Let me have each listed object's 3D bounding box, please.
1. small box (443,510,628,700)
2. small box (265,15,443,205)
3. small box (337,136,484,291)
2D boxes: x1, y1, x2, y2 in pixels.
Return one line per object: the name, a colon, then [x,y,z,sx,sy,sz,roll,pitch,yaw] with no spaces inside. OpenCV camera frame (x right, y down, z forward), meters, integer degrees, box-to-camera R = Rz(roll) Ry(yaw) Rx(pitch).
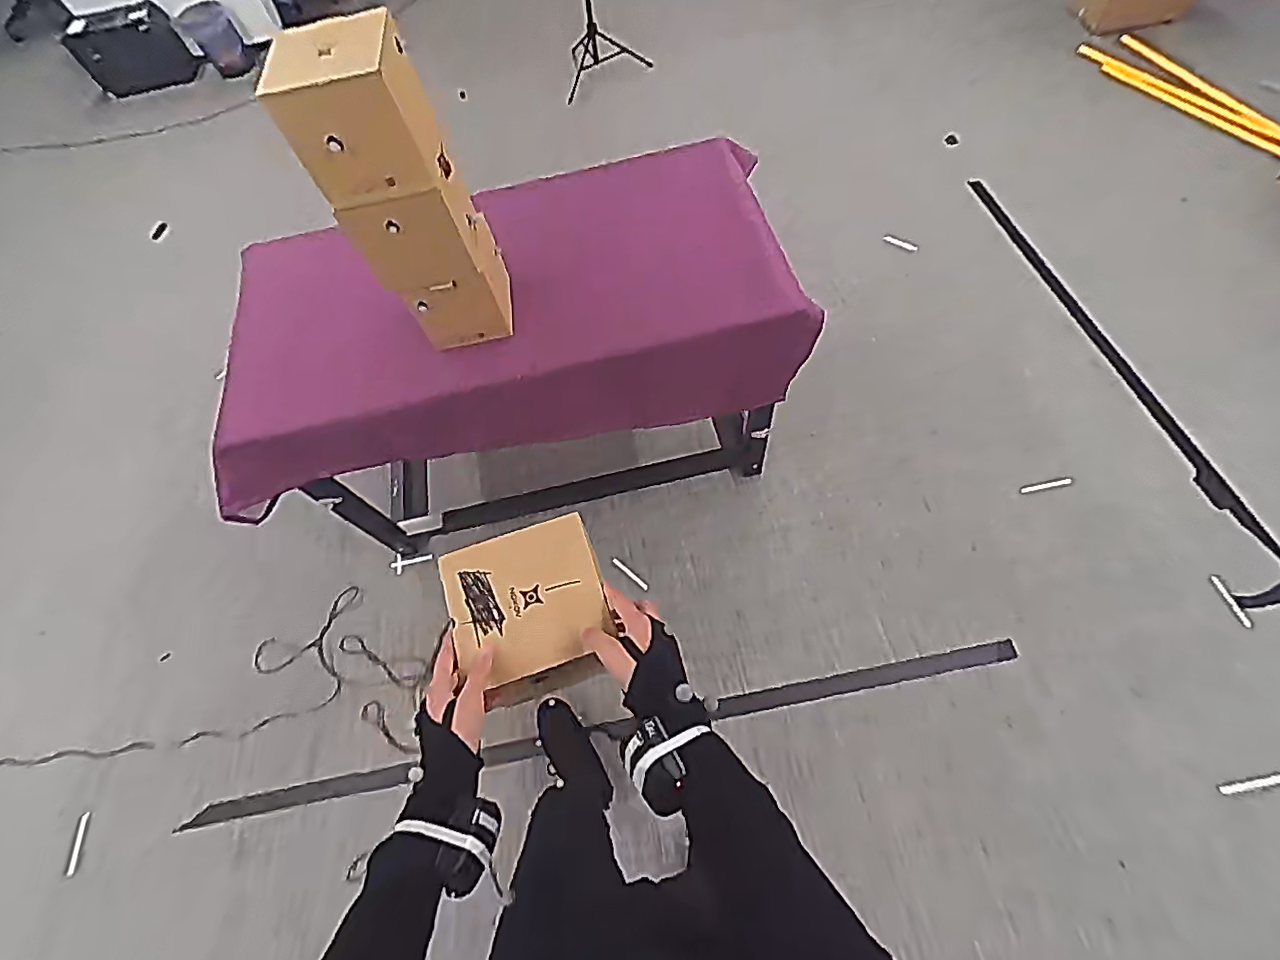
small box: [-0.124,0.166,0.685,0.179,0.176,0.168,-18,64,-6]
small box: [-0.407,-0.536,0.804,0.168,0.176,0.179,-11,61,1]
small box: [-0.389,-0.456,0.944,0.179,0.176,0.168,-10,62,1]
